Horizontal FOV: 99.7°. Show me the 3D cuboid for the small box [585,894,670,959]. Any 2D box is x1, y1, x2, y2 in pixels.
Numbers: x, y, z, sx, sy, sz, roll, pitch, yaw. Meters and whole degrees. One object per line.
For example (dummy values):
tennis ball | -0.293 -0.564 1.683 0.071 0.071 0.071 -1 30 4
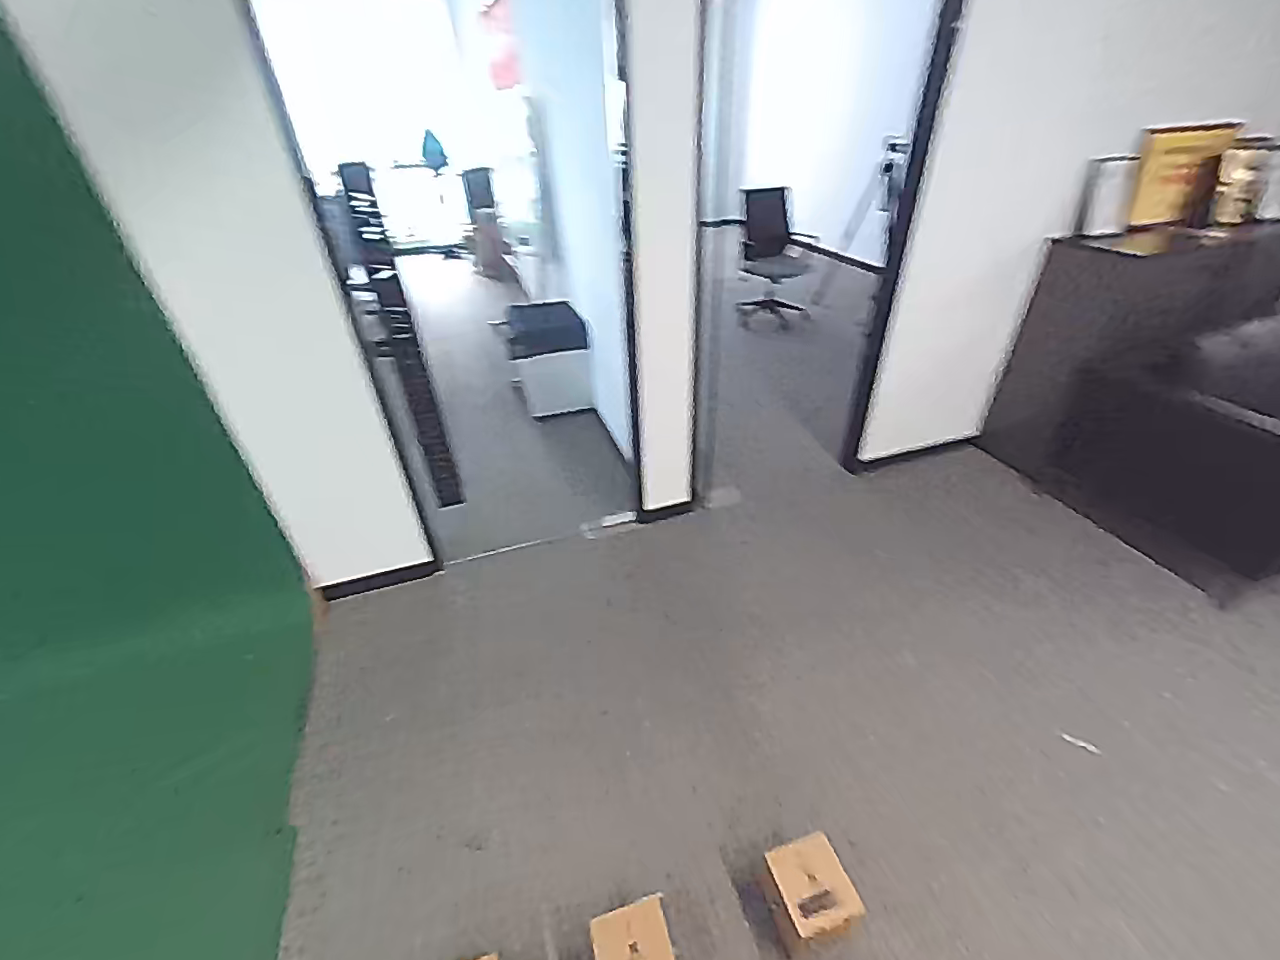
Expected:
small box | -0.020 1.078 1.206 0.168 0.176 0.179 -11 35 -12
